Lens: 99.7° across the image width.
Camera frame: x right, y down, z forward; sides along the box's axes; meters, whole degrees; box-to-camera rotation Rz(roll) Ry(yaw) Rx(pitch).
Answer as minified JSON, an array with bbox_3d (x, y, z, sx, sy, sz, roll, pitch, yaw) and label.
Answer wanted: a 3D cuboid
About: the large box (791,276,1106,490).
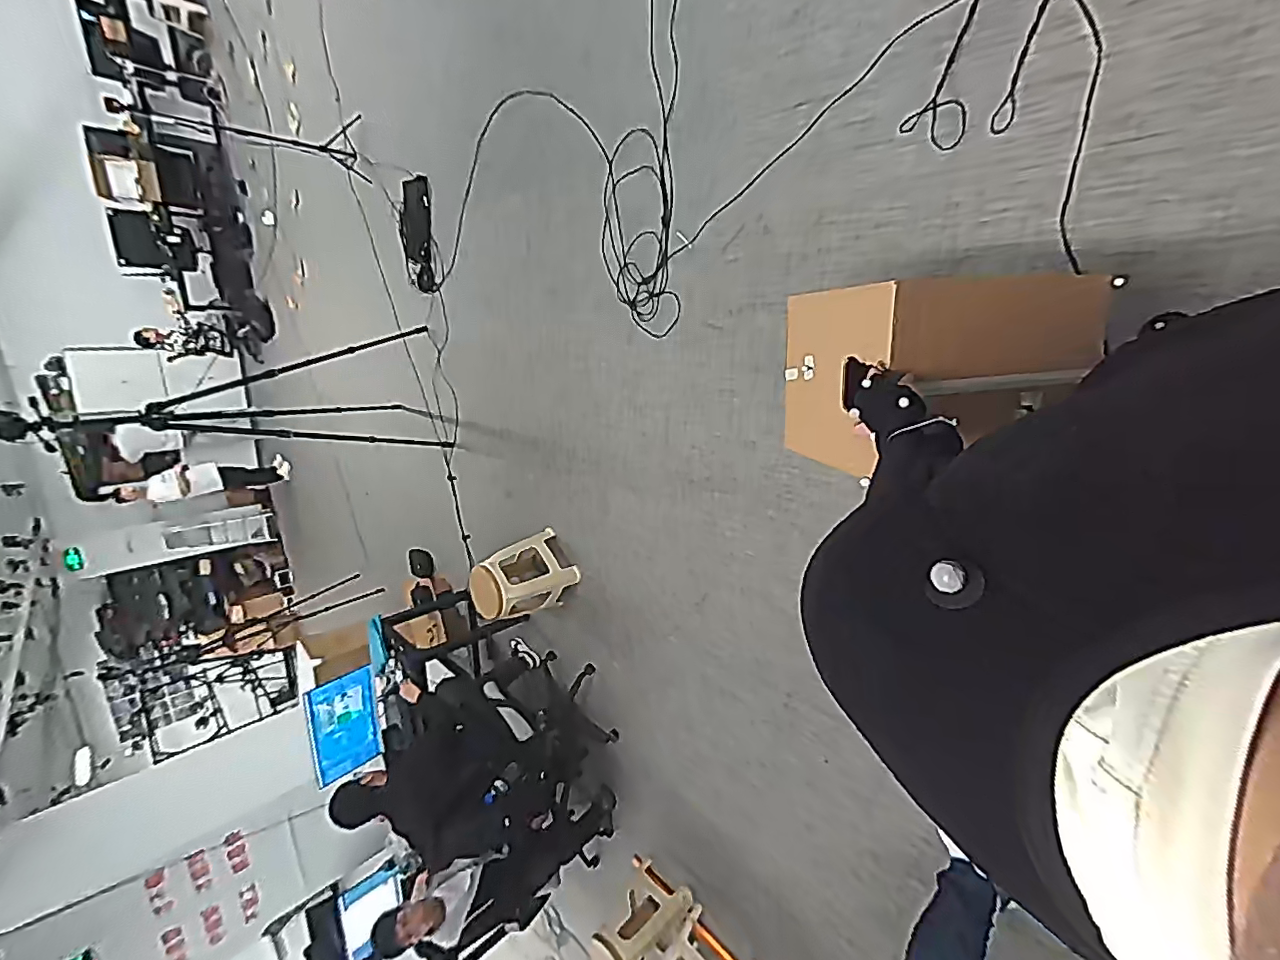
[{"bbox_3d":[0.533,-0.189,1.002,0.320,0.408,0.320,-137,42,-69],"label":"large box"}]
